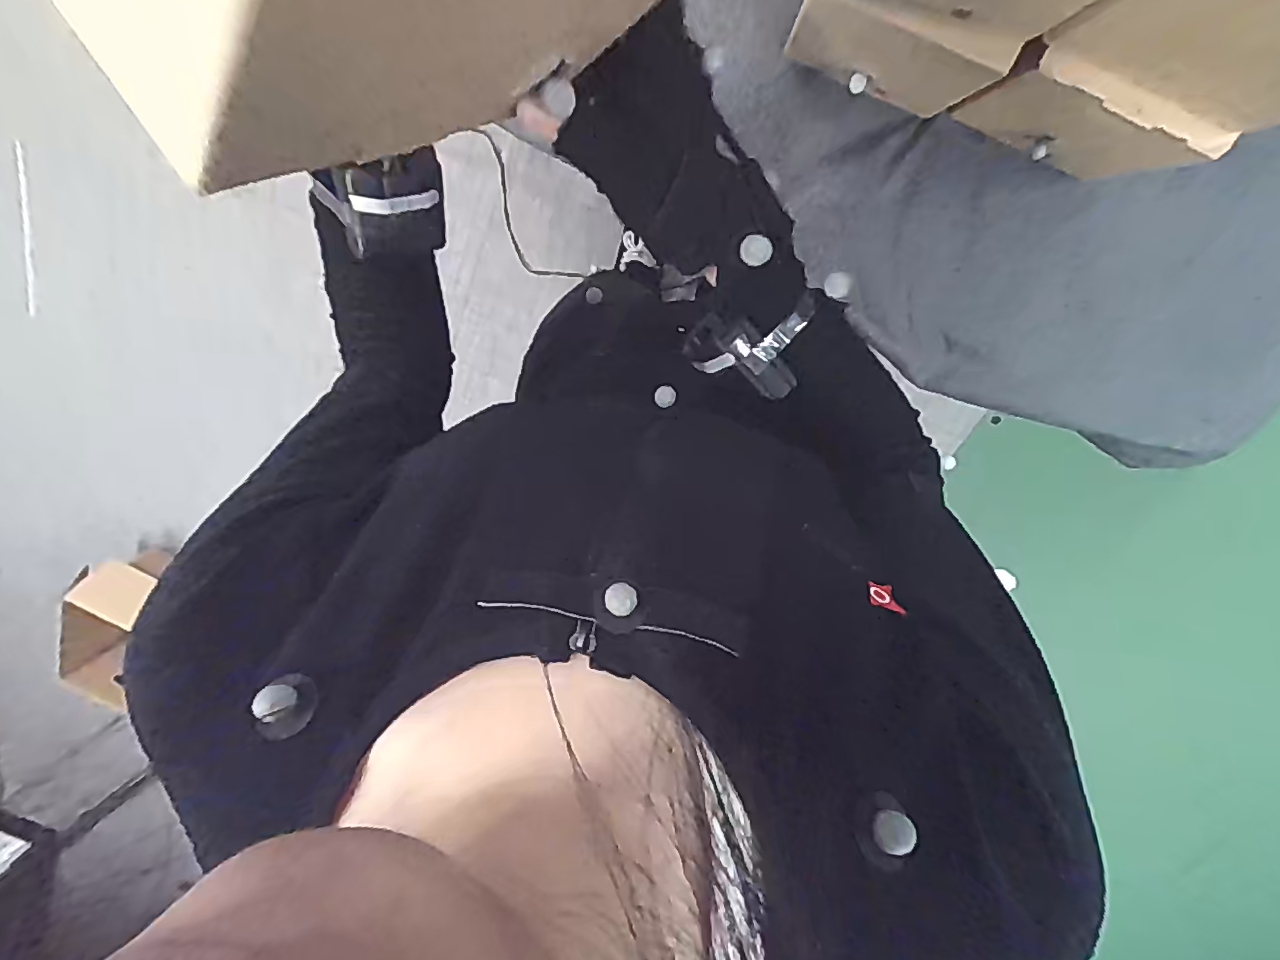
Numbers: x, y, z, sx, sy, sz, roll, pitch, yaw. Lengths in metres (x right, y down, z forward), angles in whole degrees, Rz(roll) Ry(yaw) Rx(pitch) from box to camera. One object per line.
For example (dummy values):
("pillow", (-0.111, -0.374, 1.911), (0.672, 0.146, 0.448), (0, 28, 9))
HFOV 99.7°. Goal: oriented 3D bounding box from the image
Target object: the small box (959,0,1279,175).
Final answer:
("small box", (0.414, -0.387, 0.455), (0.168, 0.176, 0.179), (24, 114, -3))
